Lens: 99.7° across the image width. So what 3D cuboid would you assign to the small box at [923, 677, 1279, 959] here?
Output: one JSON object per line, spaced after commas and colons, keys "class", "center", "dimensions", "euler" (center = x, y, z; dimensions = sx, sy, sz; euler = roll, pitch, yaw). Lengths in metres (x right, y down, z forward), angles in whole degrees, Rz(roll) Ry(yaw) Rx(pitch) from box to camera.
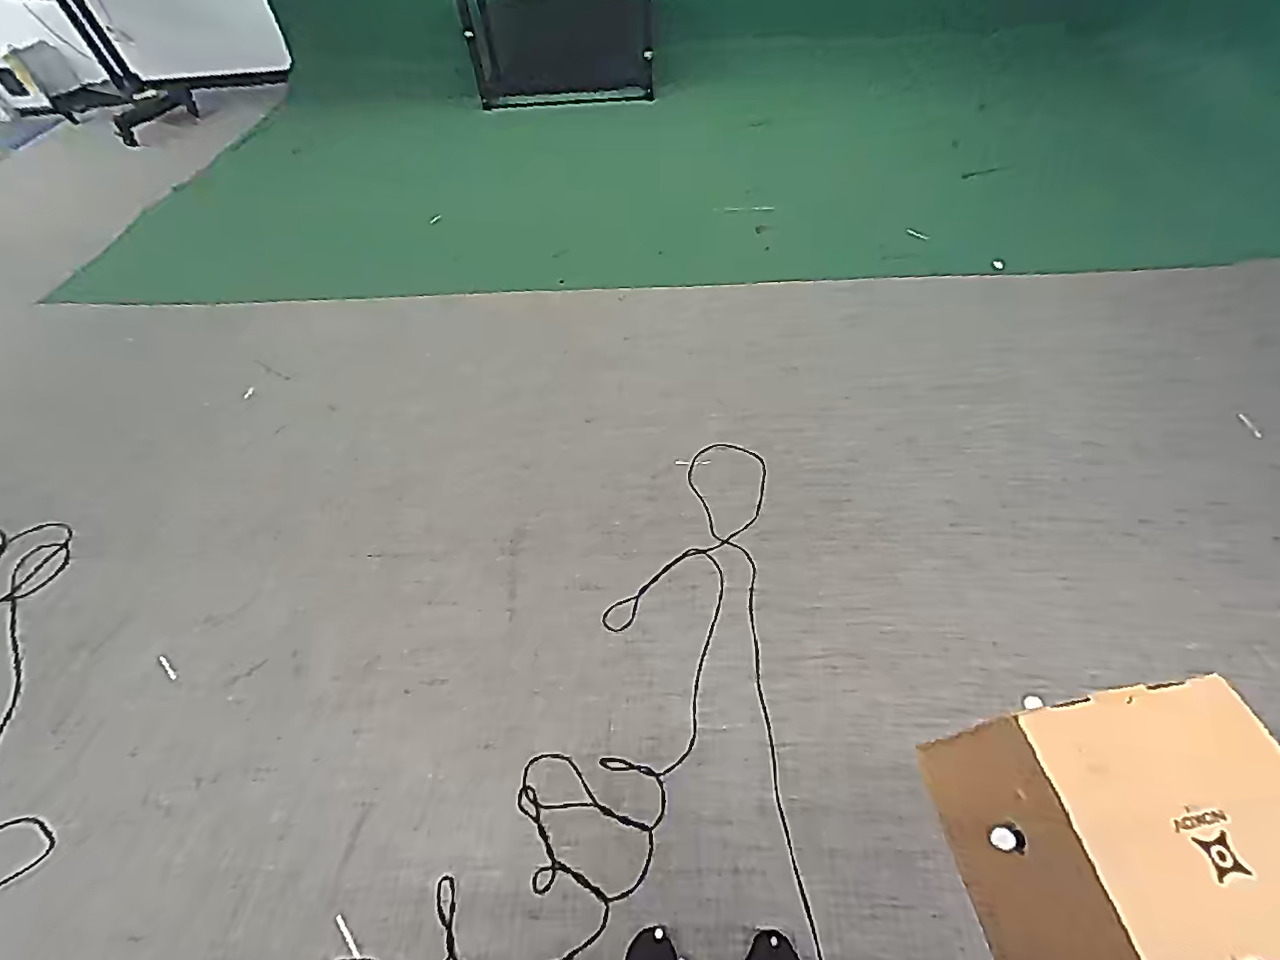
{"class": "small box", "center": [0.351, 0.270, 0.403], "dimensions": [0.168, 0.176, 0.179], "euler": [-8, 55, -5]}
